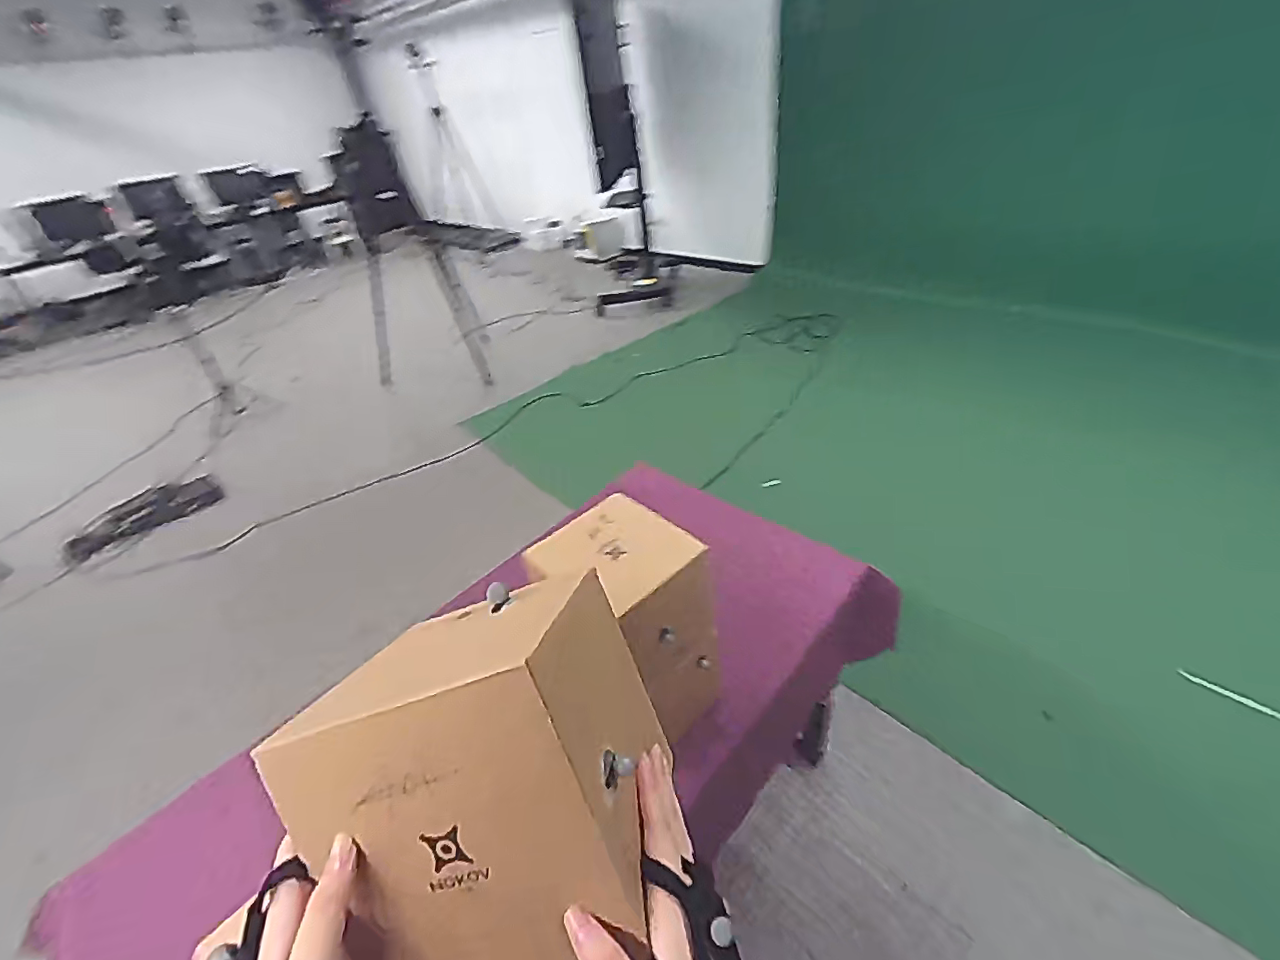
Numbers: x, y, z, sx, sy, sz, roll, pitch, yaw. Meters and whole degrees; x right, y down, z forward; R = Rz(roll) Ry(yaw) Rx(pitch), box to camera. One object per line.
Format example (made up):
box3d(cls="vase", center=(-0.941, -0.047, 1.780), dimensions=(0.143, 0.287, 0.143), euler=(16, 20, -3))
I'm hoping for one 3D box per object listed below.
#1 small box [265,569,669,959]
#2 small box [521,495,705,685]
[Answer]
box3d(cls="small box", center=(-0.087, 0.183, 0.362), dimensions=(0.168, 0.179, 0.176), euler=(-20, 5, 10))
box3d(cls="small box", center=(-0.028, 0.155, 0.723), dimensions=(0.168, 0.176, 0.179), euler=(-32, 42, -29))
